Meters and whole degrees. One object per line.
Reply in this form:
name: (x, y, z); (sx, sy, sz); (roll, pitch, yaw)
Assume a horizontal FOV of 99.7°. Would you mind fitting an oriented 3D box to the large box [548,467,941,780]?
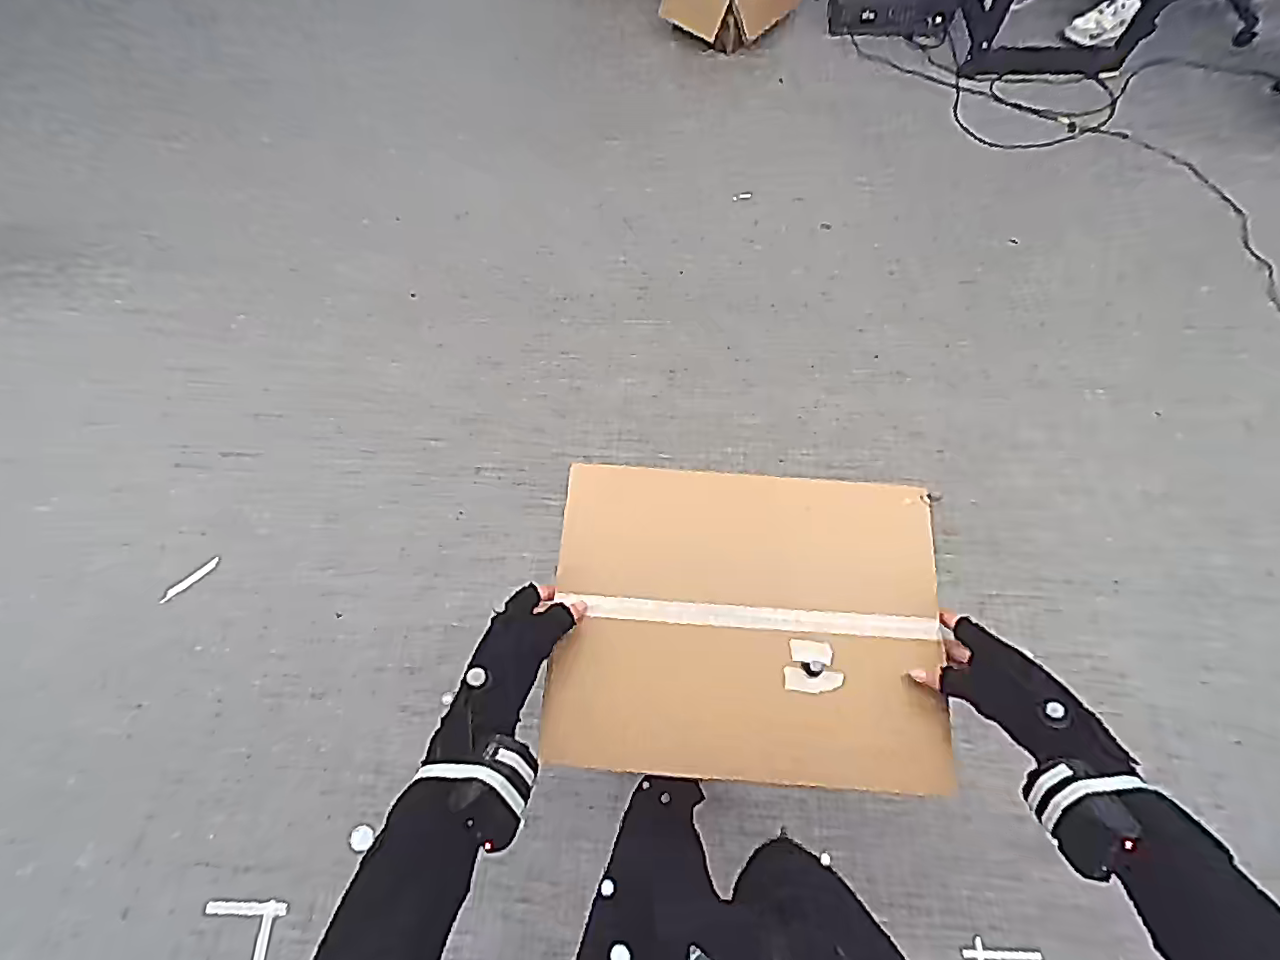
large box: (0.109, 0.185, 0.724); (0.408, 0.320, 0.320); (4, 74, 1)
